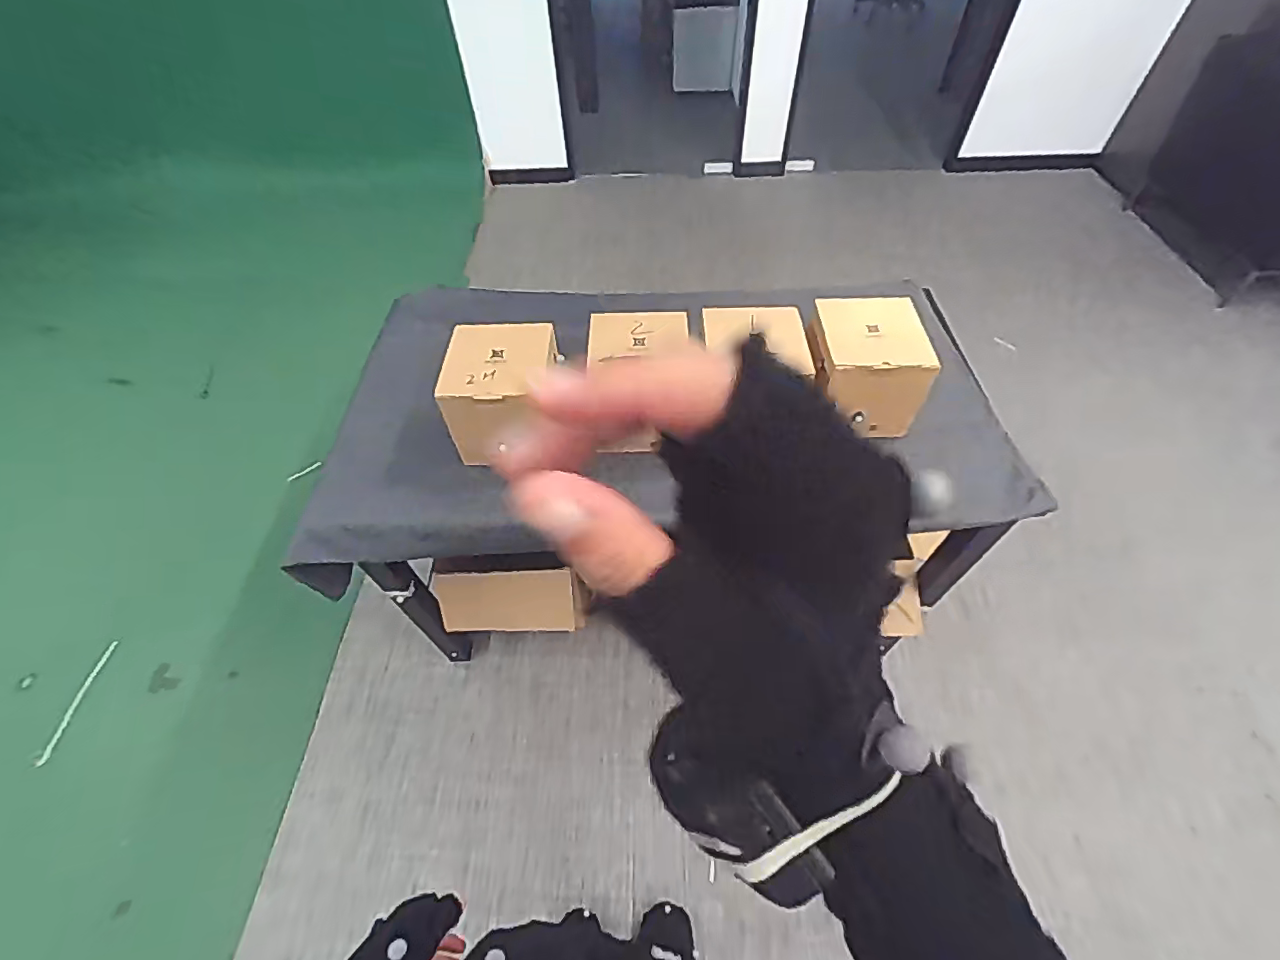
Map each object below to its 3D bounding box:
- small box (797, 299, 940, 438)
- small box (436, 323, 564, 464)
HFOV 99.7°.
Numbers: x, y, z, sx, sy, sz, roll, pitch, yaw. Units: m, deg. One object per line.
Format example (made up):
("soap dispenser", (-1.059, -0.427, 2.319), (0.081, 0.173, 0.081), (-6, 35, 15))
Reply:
("small box", (0.383, -0.195, 0.945), (0.168, 0.176, 0.179), (0, 54, 2))
("small box", (-0.225, -0.147, 0.923), (0.168, 0.176, 0.179), (-1, 53, 1))
